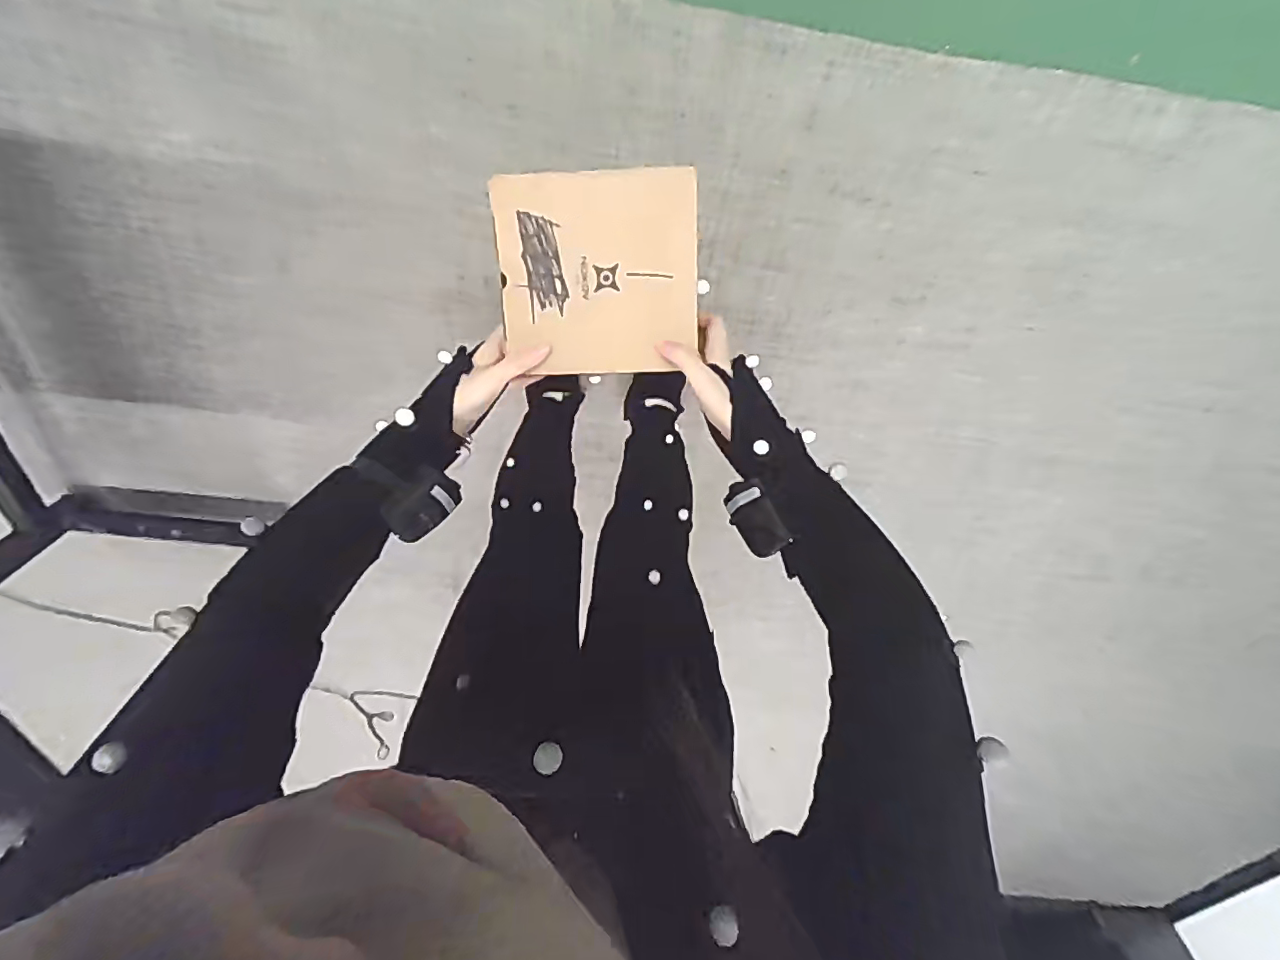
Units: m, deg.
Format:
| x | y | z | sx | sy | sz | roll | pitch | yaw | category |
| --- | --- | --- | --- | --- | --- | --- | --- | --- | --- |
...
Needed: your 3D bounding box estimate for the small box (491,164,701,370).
| x | y | z | sx | sy | sz | roll | pitch | yaw | category |
| --- | --- | --- | --- | --- | --- | --- | --- | --- | --- |
| -0.030 | -0.199 | 0.539 | 0.179 | 0.176 | 0.168 | -1 | 107 | 4 | small box |
